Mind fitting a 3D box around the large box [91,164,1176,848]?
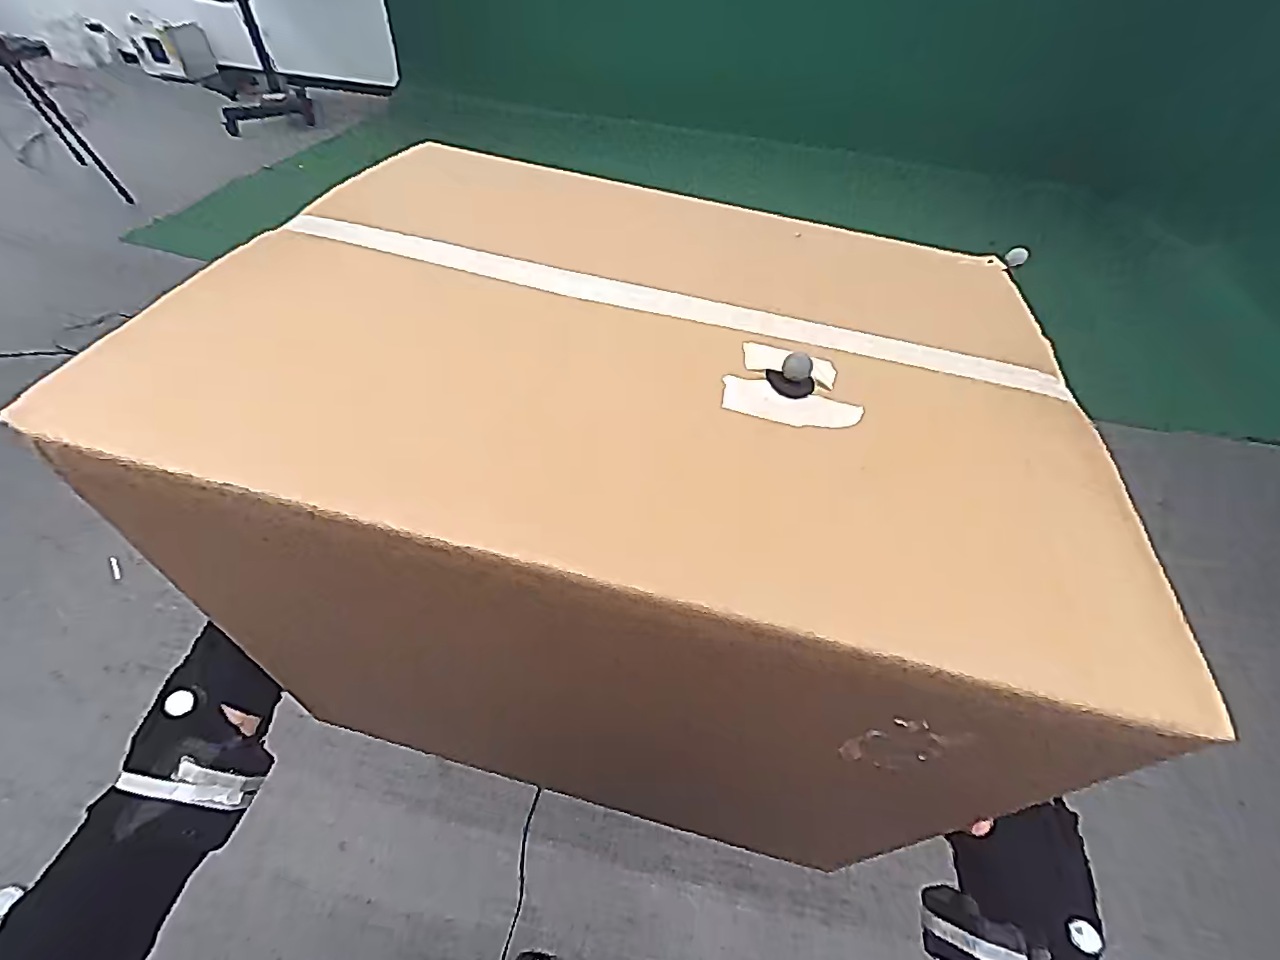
[{"bbox_3d":[0.000,0.019,0.397,0.408,0.320,0.320,15,49,4],"label":"large box"}]
